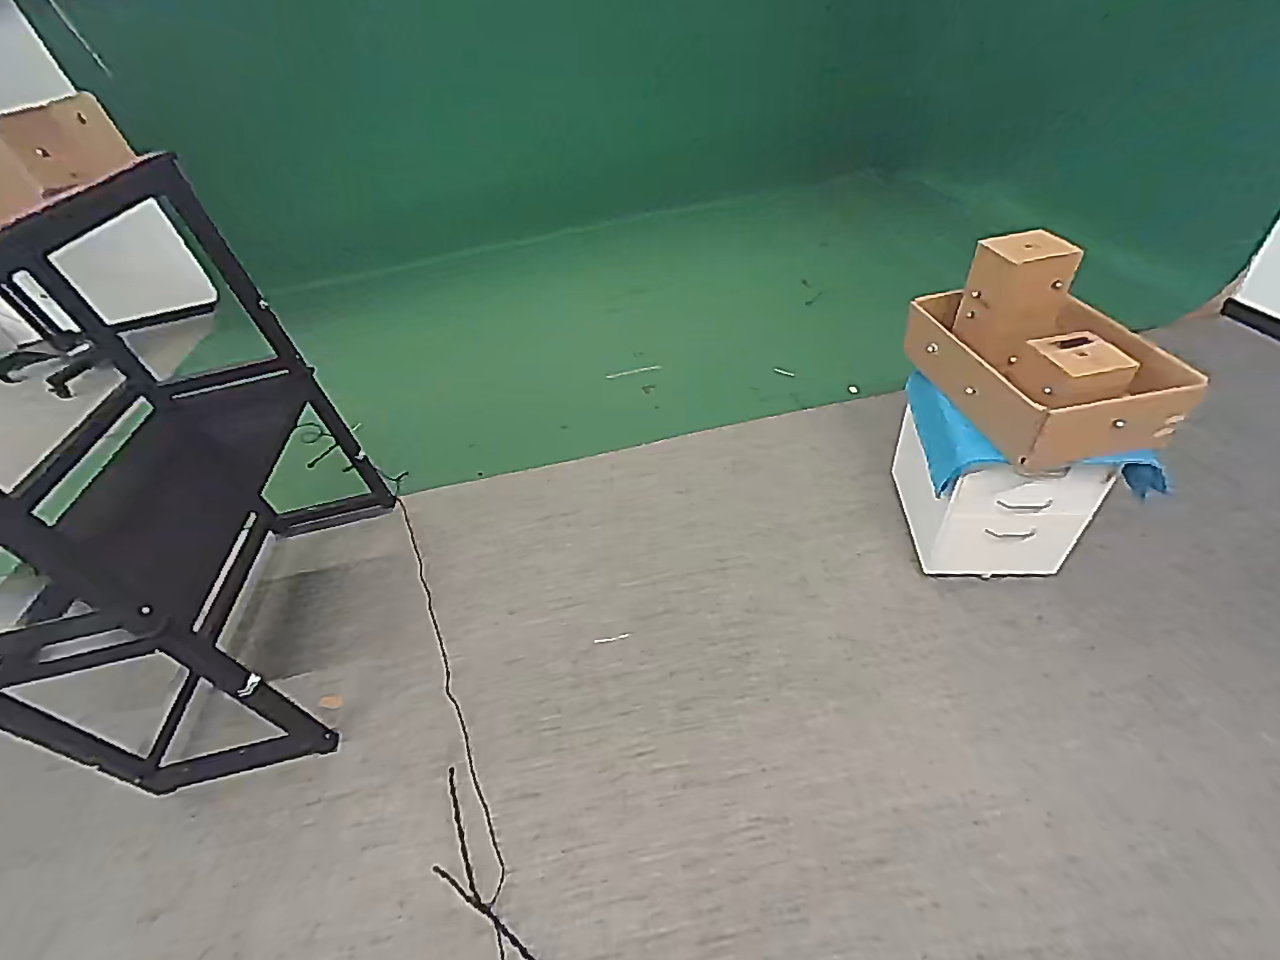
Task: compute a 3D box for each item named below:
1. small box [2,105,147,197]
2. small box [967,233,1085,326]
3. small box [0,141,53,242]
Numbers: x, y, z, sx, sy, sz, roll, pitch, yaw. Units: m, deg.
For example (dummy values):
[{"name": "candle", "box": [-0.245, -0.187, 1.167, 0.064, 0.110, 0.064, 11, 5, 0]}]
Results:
[{"name": "small box", "box": [-1.487, -0.871, 1.440, 0.168, 0.176, 0.179, -9, 44, 3]}, {"name": "small box", "box": [1.027, -0.538, 1.458, 0.179, 0.176, 0.168, -10, 43, 1]}, {"name": "small box", "box": [-1.440, -0.611, 1.154, 0.168, 0.176, 0.179, -13, 43, 1]}]
